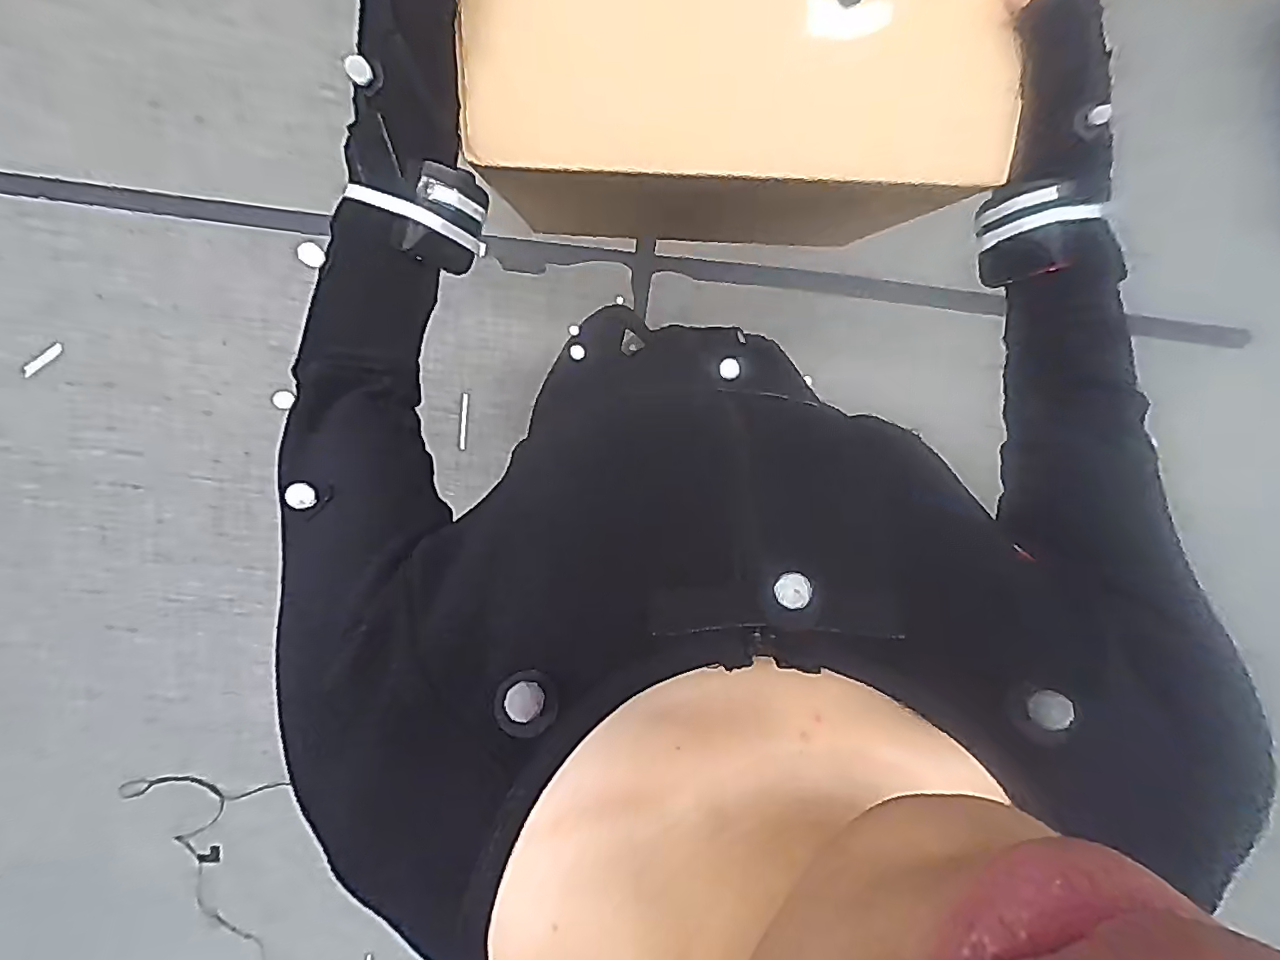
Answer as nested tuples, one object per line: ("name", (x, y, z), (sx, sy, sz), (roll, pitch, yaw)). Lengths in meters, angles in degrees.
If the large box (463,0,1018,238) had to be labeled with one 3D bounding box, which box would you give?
("large box", (0.068, -0.424, 0.514), (0.408, 0.320, 0.320), (1, 106, -2))
